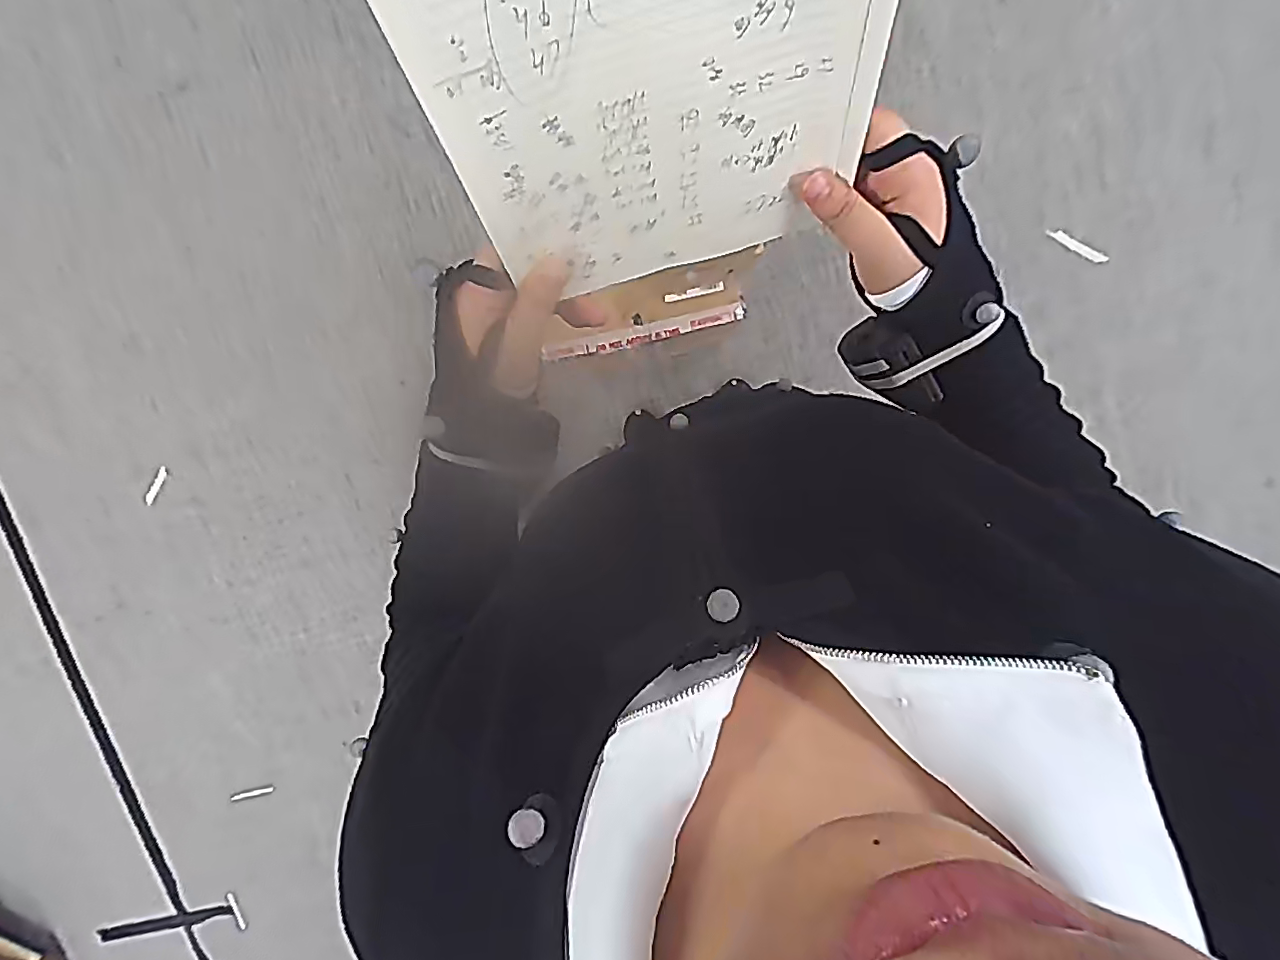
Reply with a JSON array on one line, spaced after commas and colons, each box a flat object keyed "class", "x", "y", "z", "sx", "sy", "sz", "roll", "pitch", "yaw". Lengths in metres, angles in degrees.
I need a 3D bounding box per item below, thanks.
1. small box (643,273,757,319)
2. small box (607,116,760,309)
[{"class": "small box", "x": 0.075, "y": -0.372, "z": 0.883, "sx": 0.179, "sy": 0.176, "sz": 0.168, "roll": -13, "pitch": 98, "yaw": 4}, {"class": "small box", "x": 0.053, "y": -0.340, "z": 0.722, "sx": 0.168, "sy": 0.176, "sz": 0.179, "roll": -9, "pitch": 100, "yaw": 3}]
